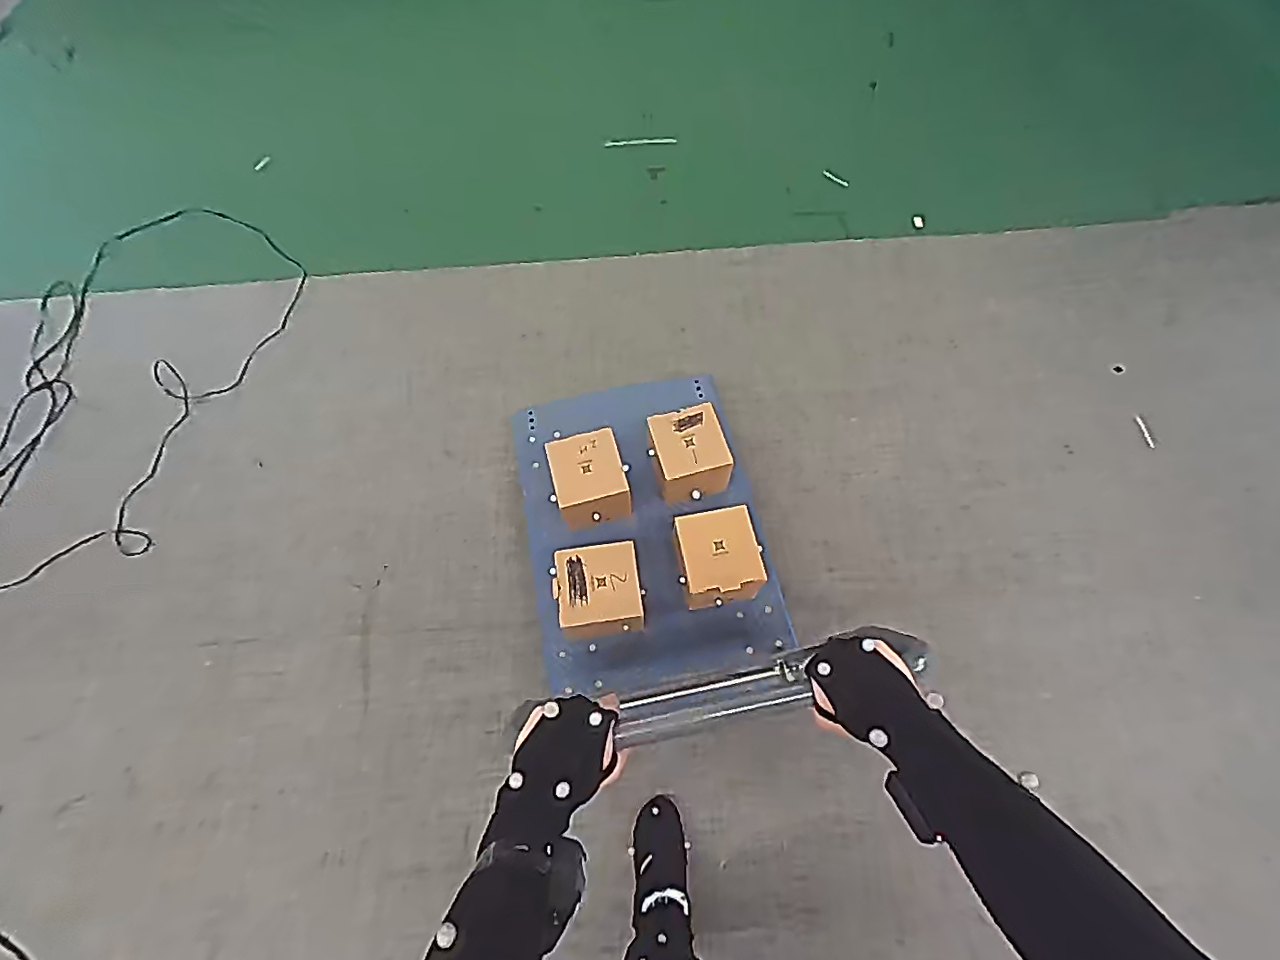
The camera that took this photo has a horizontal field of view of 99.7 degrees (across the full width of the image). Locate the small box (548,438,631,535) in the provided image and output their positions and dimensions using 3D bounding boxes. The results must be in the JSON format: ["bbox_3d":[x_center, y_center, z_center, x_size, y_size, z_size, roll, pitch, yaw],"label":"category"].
[{"bbox_3d":[-0.120,0.025,1.349,0.168,0.176,0.179,-14,65,-6],"label":"small box"}]

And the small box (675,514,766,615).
[{"bbox_3d":[0.177,0.200,1.257,0.168,0.176,0.179,-10,65,-3],"label":"small box"}]

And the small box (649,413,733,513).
[{"bbox_3d":[0.122,-0.039,1.372,0.168,0.176,0.179,-15,66,-4],"label":"small box"}]
